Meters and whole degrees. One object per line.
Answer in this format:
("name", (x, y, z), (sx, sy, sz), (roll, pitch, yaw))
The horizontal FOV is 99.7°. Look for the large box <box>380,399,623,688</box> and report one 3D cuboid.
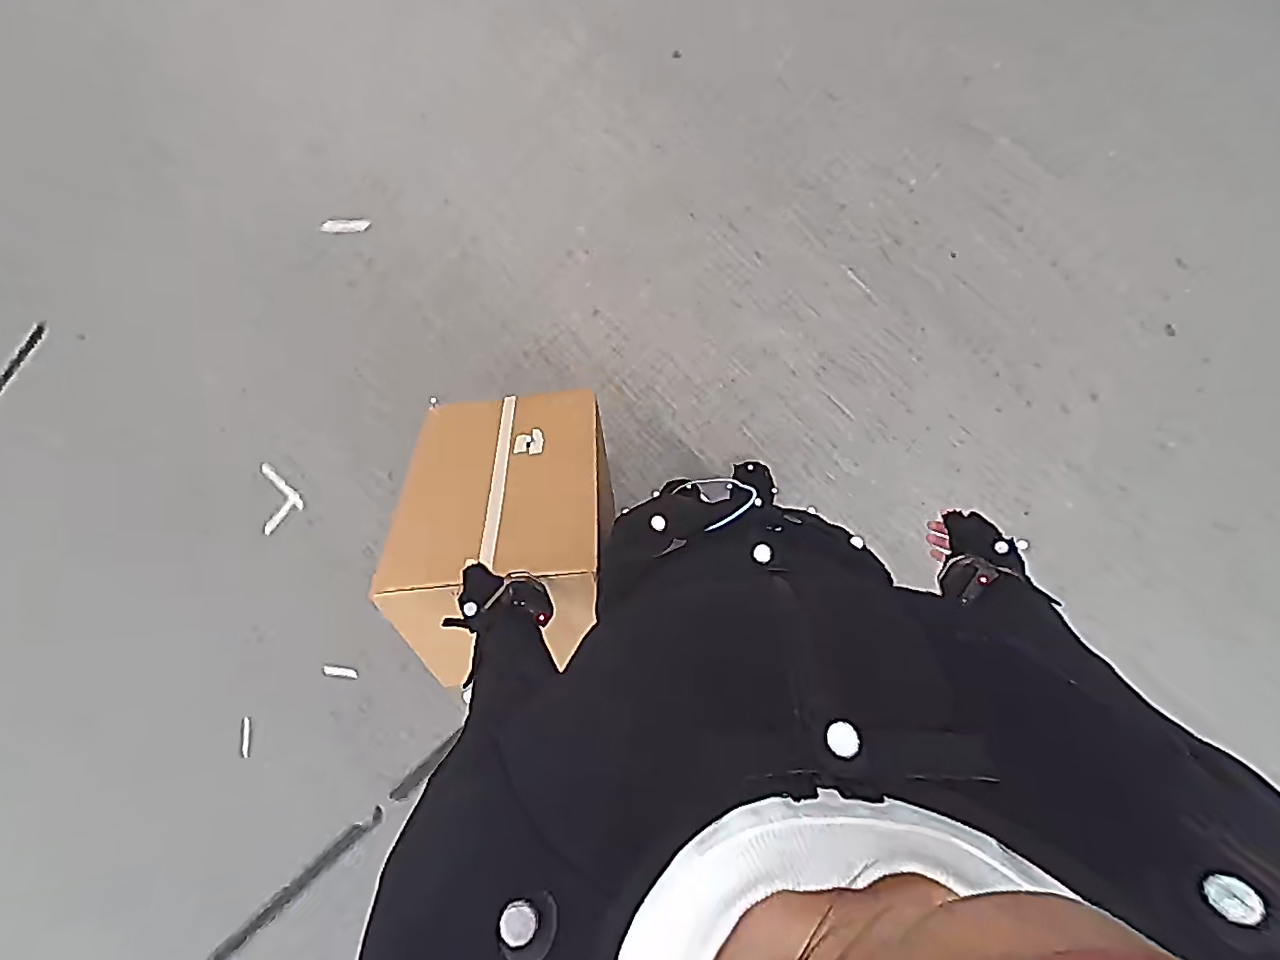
("large box", (-0.212, 0.110, 0.987), (0.320, 0.320, 0.408), (-6, 46, 1))
